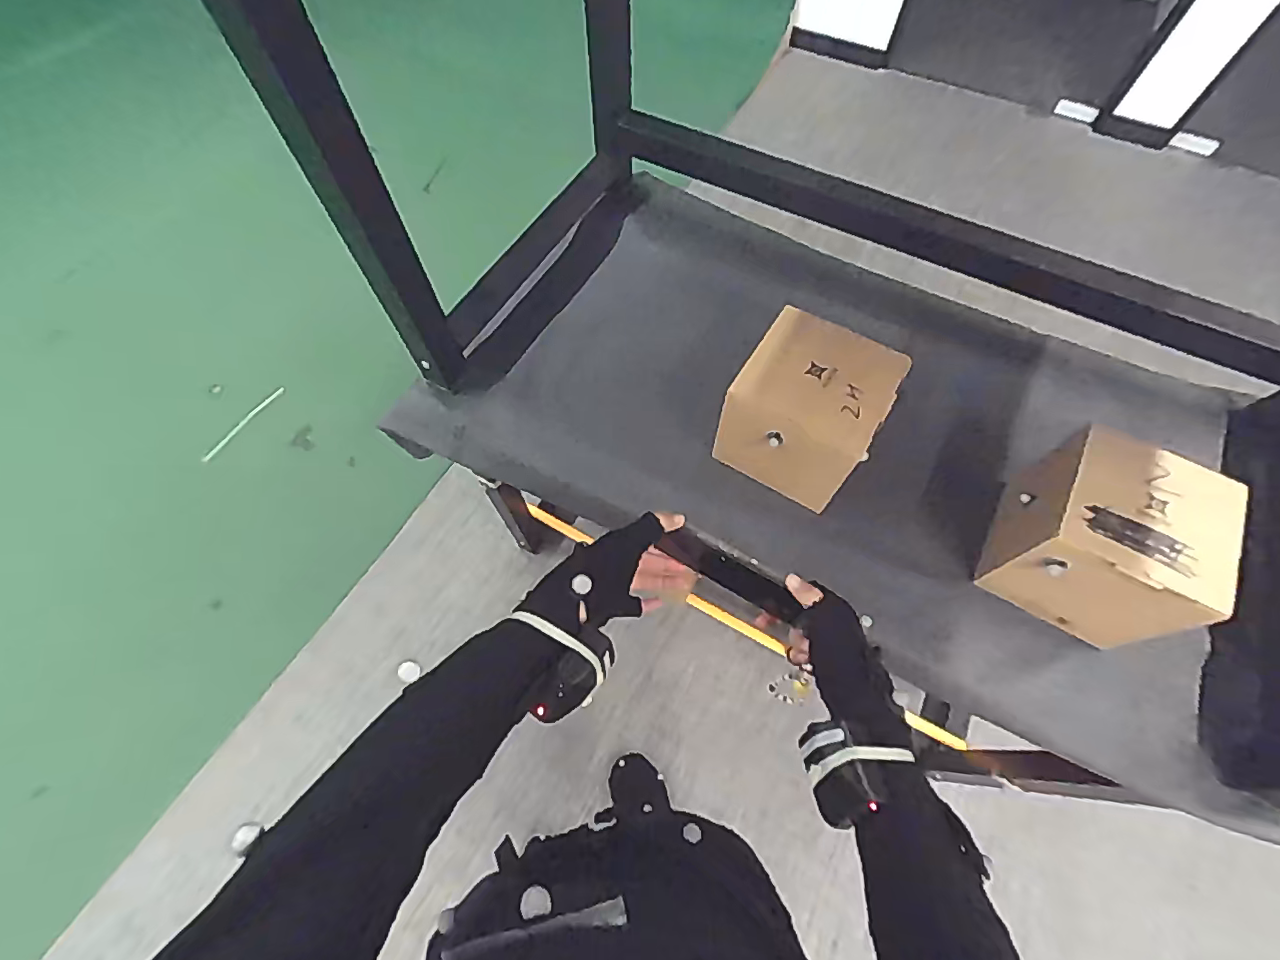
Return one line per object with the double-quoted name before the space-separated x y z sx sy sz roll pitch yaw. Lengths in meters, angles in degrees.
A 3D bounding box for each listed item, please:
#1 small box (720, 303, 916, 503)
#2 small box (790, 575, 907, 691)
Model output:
"small box" 0.223 -0.094 0.722 0.179 0.176 0.168 30 68 14
"small box" 0.451 0.346 1.198 0.168 0.176 0.179 30 68 14
